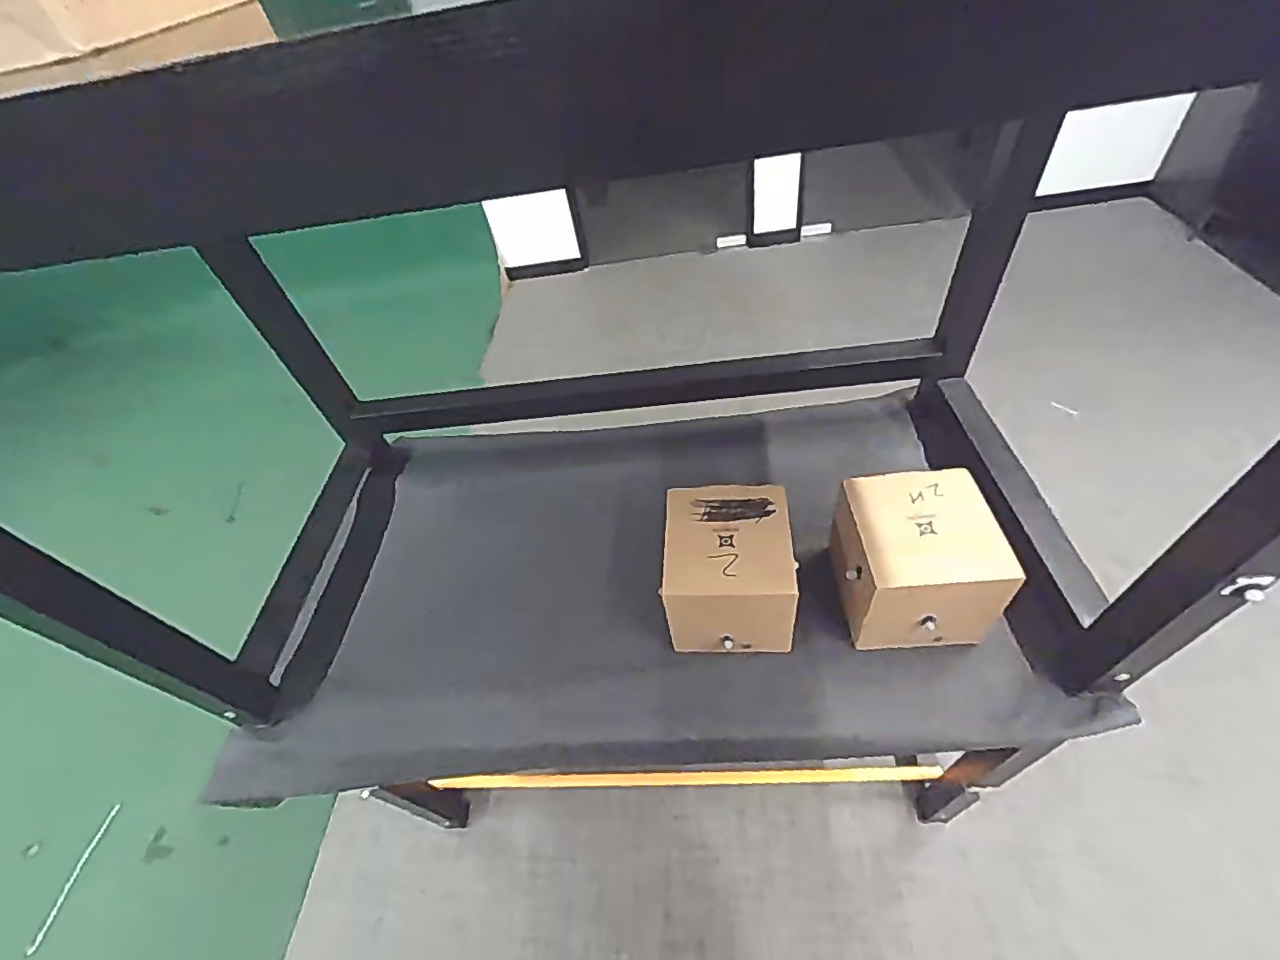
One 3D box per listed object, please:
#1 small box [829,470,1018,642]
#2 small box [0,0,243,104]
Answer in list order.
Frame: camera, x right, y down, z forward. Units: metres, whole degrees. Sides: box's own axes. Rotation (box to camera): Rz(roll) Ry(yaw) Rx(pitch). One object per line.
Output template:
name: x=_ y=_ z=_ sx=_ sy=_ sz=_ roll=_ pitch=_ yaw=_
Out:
small box: x=0.367 y=0.111 z=0.740 sx=0.168 sy=0.176 sz=0.179 roll=-5 pitch=47 yaw=6
small box: x=-0.348 y=-0.294 z=0.259 sx=0.168 sy=0.176 sz=0.179 roll=-5 pitch=48 yaw=7
